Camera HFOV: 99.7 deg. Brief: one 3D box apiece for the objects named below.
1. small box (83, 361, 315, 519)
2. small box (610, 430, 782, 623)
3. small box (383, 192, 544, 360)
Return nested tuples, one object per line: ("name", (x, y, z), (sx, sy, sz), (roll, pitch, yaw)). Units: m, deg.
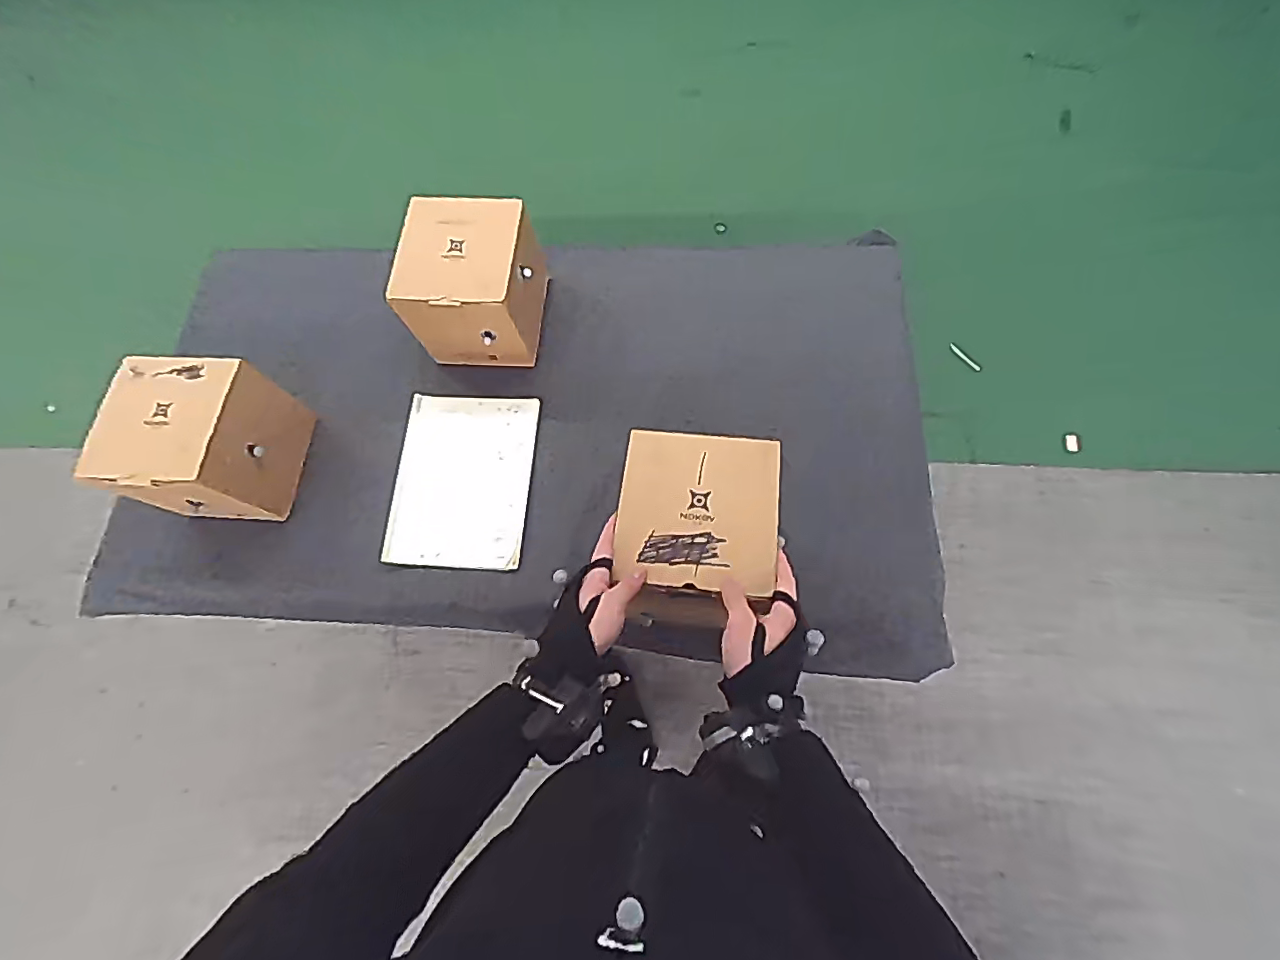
("small box", (-0.597, -0.048, 0.761), (0.168, 0.176, 0.179), (2, 72, 4))
("small box", (0.068, 0.062, 0.633), (0.168, 0.176, 0.179), (5, 66, 7))
("small box", (-0.246, -0.293, 0.803), (0.168, 0.176, 0.179), (3, 72, 4))
